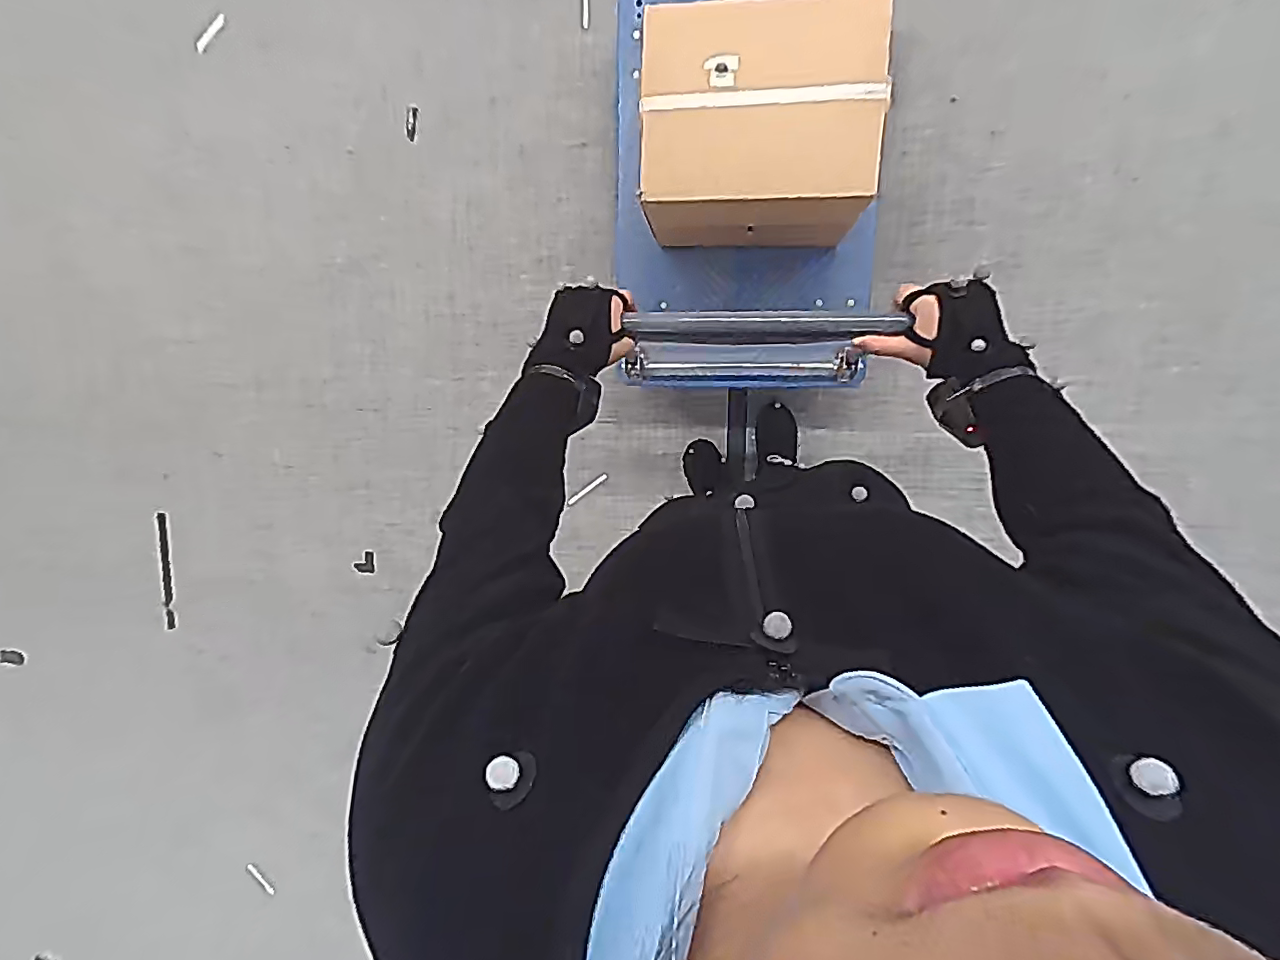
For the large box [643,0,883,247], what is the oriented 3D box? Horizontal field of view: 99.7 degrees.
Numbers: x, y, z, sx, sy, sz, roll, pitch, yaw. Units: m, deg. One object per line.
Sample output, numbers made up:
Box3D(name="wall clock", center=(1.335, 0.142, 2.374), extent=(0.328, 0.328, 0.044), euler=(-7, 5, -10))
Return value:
Box3D(name="large box", center=(0.227, -0.669, 1.078), extent=(0.408, 0.320, 0.320), euler=(2, 98, 9))
